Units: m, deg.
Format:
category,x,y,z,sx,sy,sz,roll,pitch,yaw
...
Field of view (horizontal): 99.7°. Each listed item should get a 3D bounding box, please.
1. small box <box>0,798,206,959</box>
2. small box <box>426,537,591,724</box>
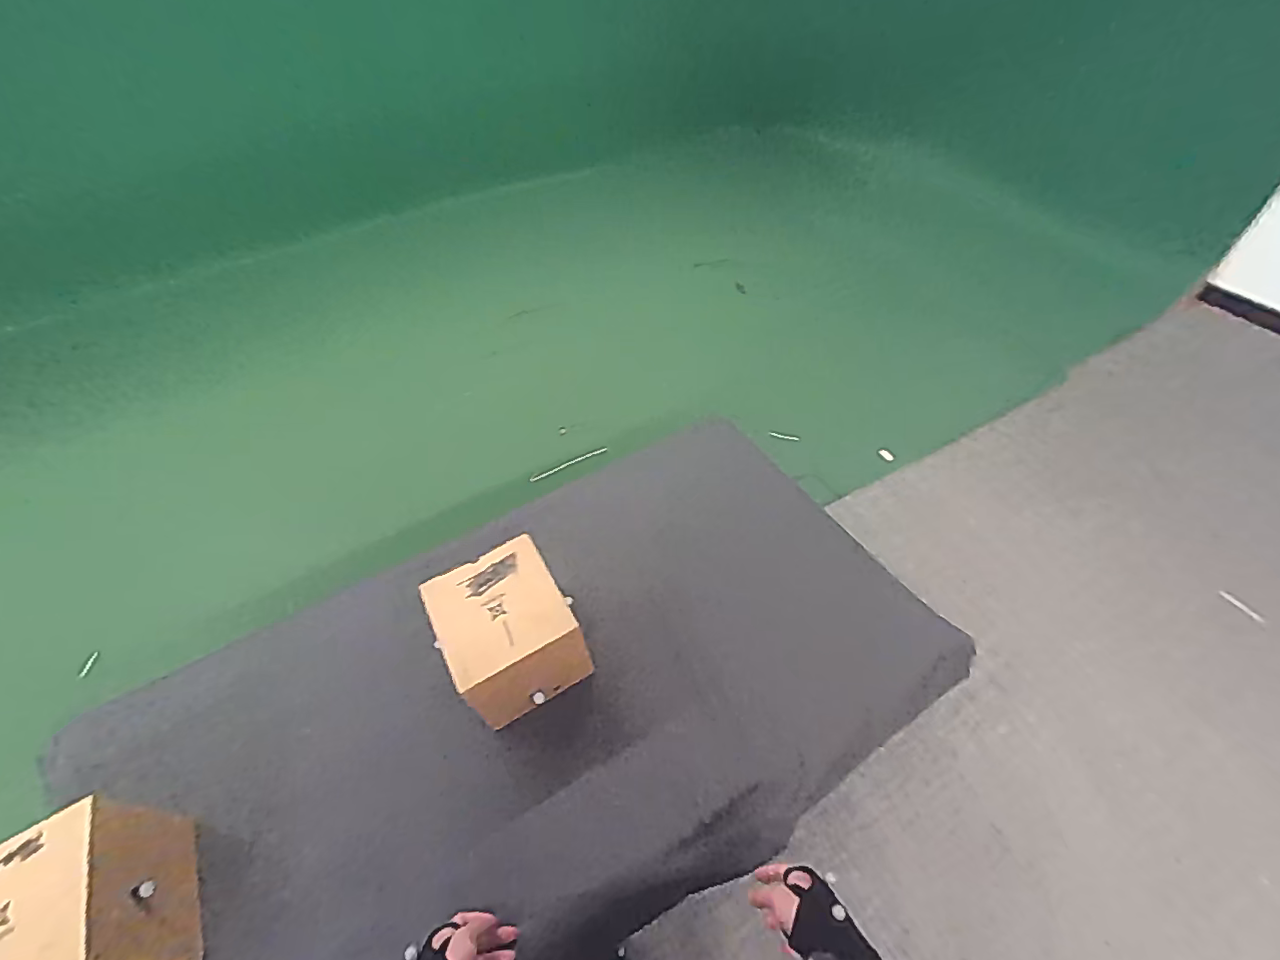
category,x,y,z,sx,sy,sz,roll,pitch,yaw
small box,-0.627,0.495,0.601,0.168,0.176,0.179,-28,55,-19
small box,-0.187,0.223,0.795,0.168,0.176,0.179,-26,55,-17
